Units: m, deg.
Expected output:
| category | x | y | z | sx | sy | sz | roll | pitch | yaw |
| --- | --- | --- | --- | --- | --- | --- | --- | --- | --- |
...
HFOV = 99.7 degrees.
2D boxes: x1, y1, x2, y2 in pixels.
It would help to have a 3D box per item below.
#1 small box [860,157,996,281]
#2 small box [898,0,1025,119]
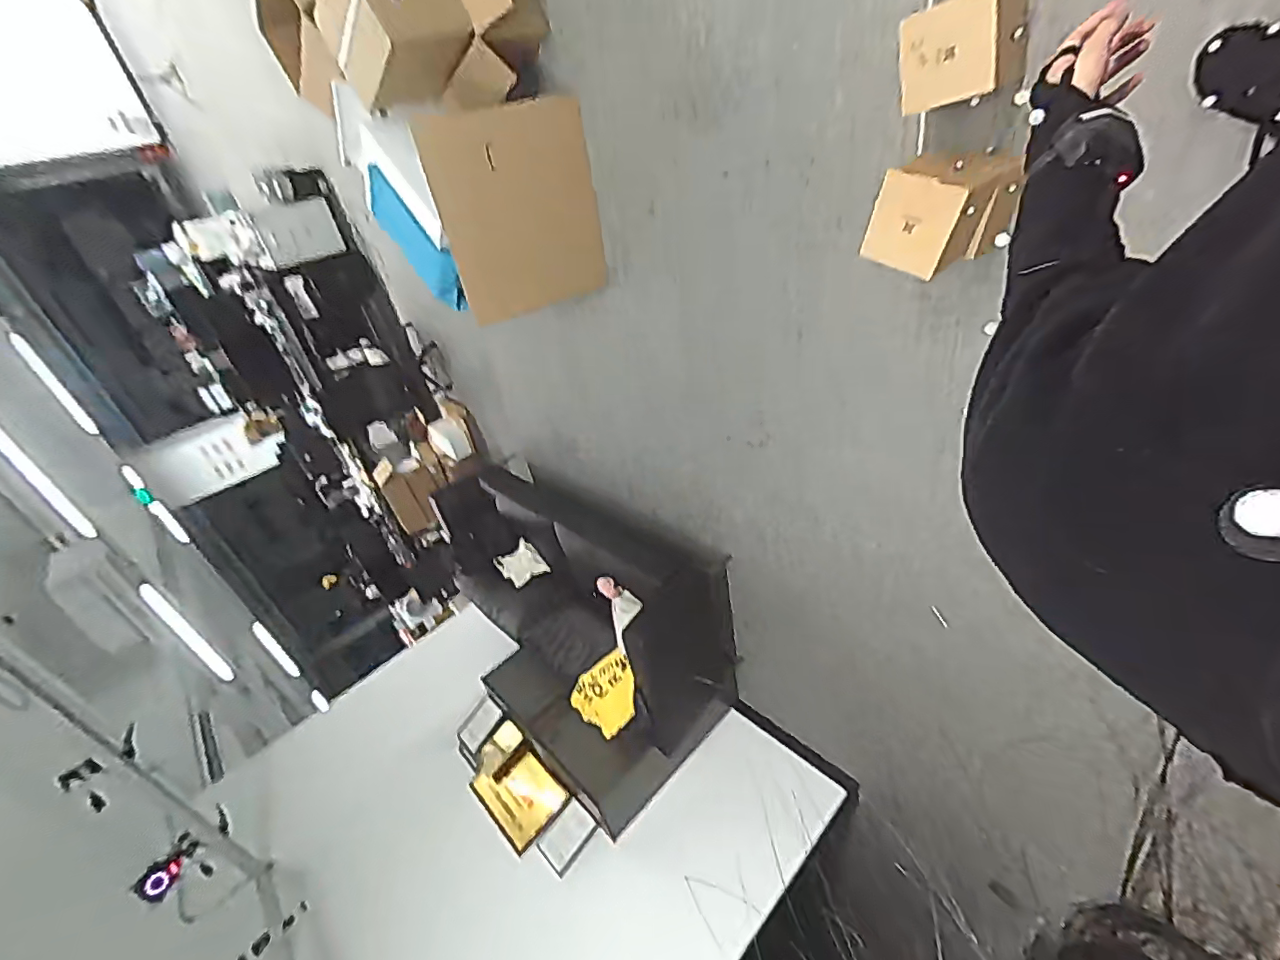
| category | x | y | z | sx | sy | sz | roll | pitch | yaw |
| --- | --- | --- | --- | --- | --- | --- | --- | --- | --- |
| small box | 0.600 | -0.548 | 1.130 | 0.168 | 0.176 | 0.179 | 37 | 144 | 29 |
| small box | 0.645 | -0.855 | 1.083 | 0.179 | 0.176 | 0.168 | 17 | 132 | 47 |
